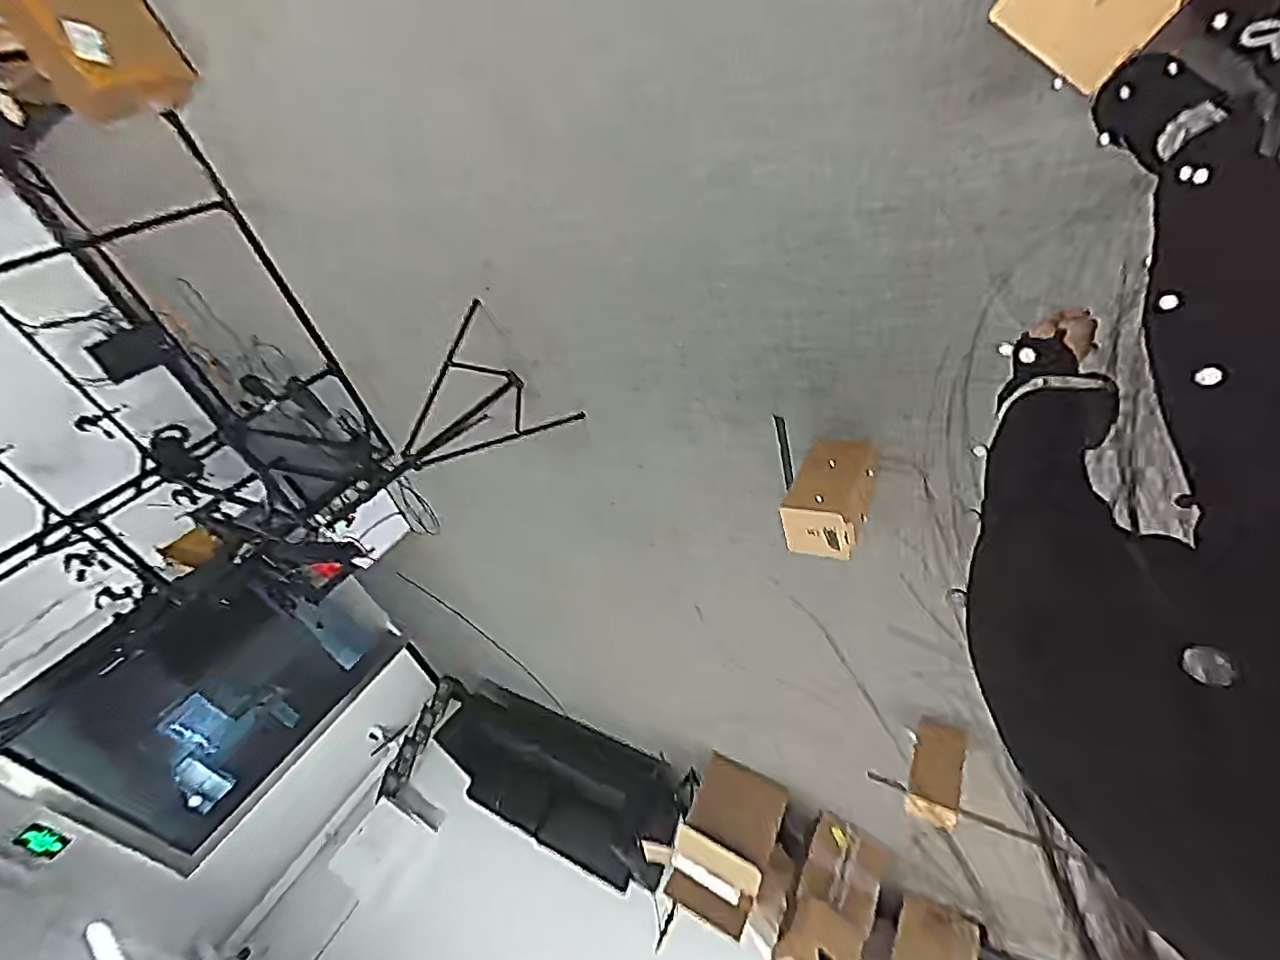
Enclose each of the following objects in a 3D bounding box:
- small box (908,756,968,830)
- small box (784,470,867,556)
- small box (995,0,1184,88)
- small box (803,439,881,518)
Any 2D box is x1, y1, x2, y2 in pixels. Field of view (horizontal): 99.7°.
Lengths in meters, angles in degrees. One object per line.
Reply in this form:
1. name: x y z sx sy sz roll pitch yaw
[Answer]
1. small box: 1.160 1.209 2.106 0.179 0.176 0.168 11 135 31
2. small box: 0.524 0.087 1.509 0.179 0.176 0.168 5 131 37
3. small box: 0.602 -0.655 0.701 0.179 0.176 0.168 37 141 0
4. small box: 0.608 -0.009 1.613 0.179 0.176 0.168 5 130 38
